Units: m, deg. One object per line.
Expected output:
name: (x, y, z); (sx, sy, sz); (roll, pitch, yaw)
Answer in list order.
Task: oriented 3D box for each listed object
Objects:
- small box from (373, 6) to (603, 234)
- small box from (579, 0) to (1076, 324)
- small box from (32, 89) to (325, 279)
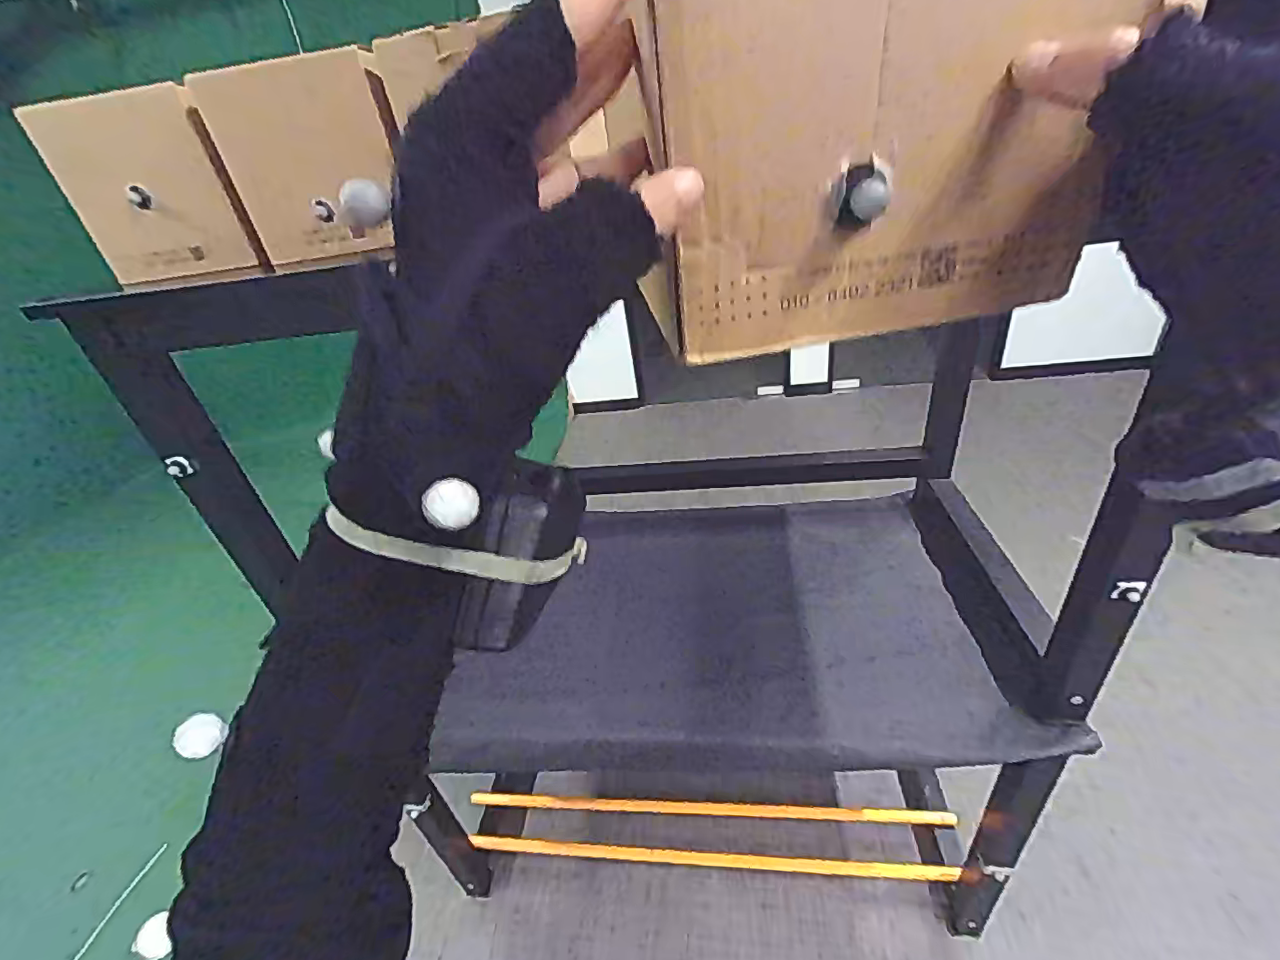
small box: (-0.141, -0.373, 0.587); (0.168, 0.176, 0.179); (-2, 31, 12)
small box: (0.061, -0.188, 0.257); (0.168, 0.176, 0.179); (-11, 36, -3)
small box: (-0.518, -0.345, 0.646); (0.168, 0.176, 0.179); (-6, 31, 3)
